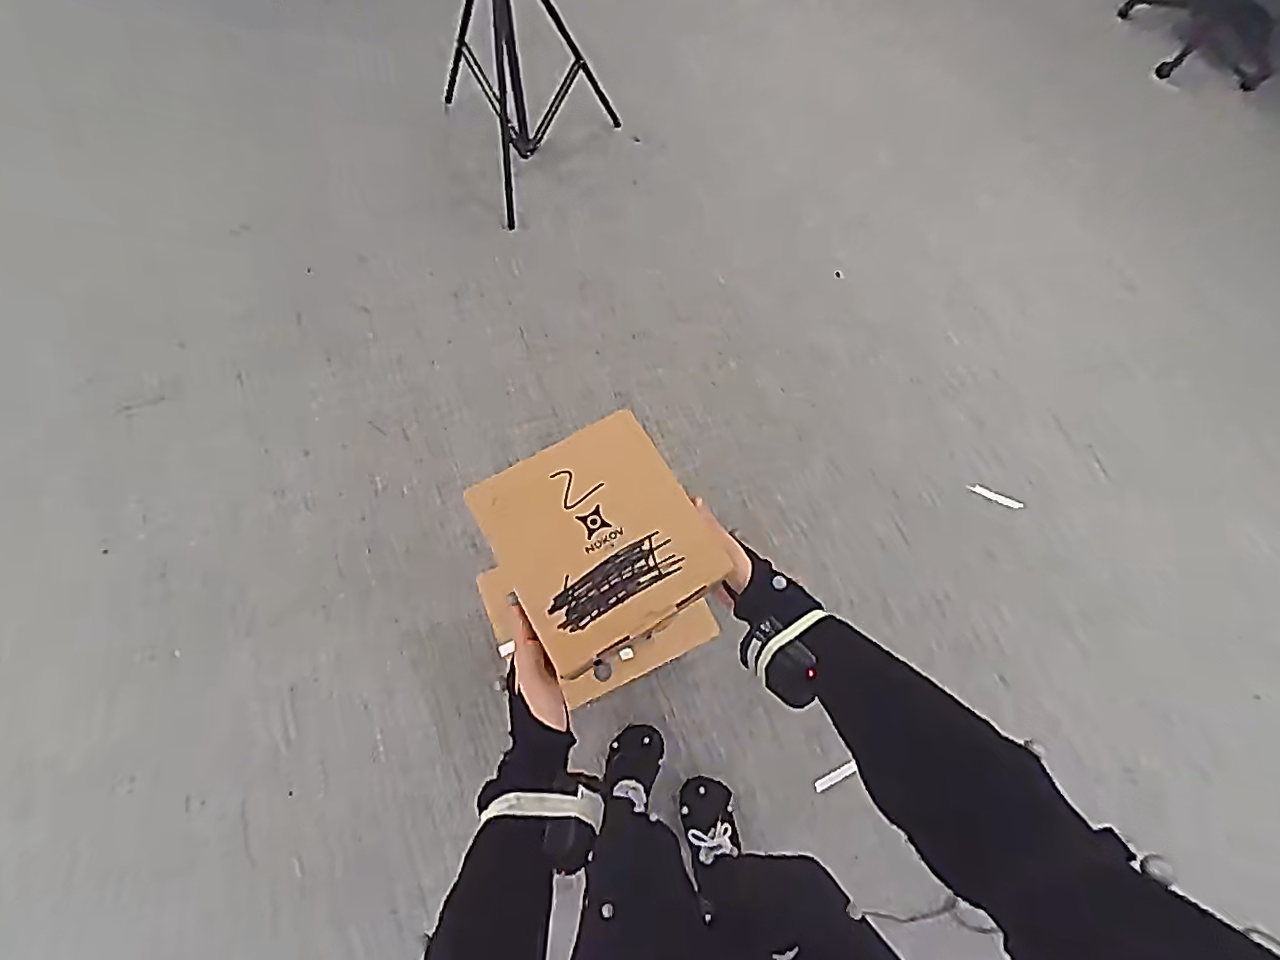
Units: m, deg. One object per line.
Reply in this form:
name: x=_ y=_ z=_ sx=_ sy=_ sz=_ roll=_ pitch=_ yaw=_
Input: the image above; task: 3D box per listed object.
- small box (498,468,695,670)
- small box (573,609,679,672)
small box: x=-0.054 y=0.118 z=0.680 sx=0.168 sy=0.176 sz=0.179 roll=-28 pitch=74 yaw=-14
small box: x=-0.058 y=0.178 z=0.834 sx=0.168 sy=0.176 sz=0.179 roll=-24 pitch=72 yaw=-13
